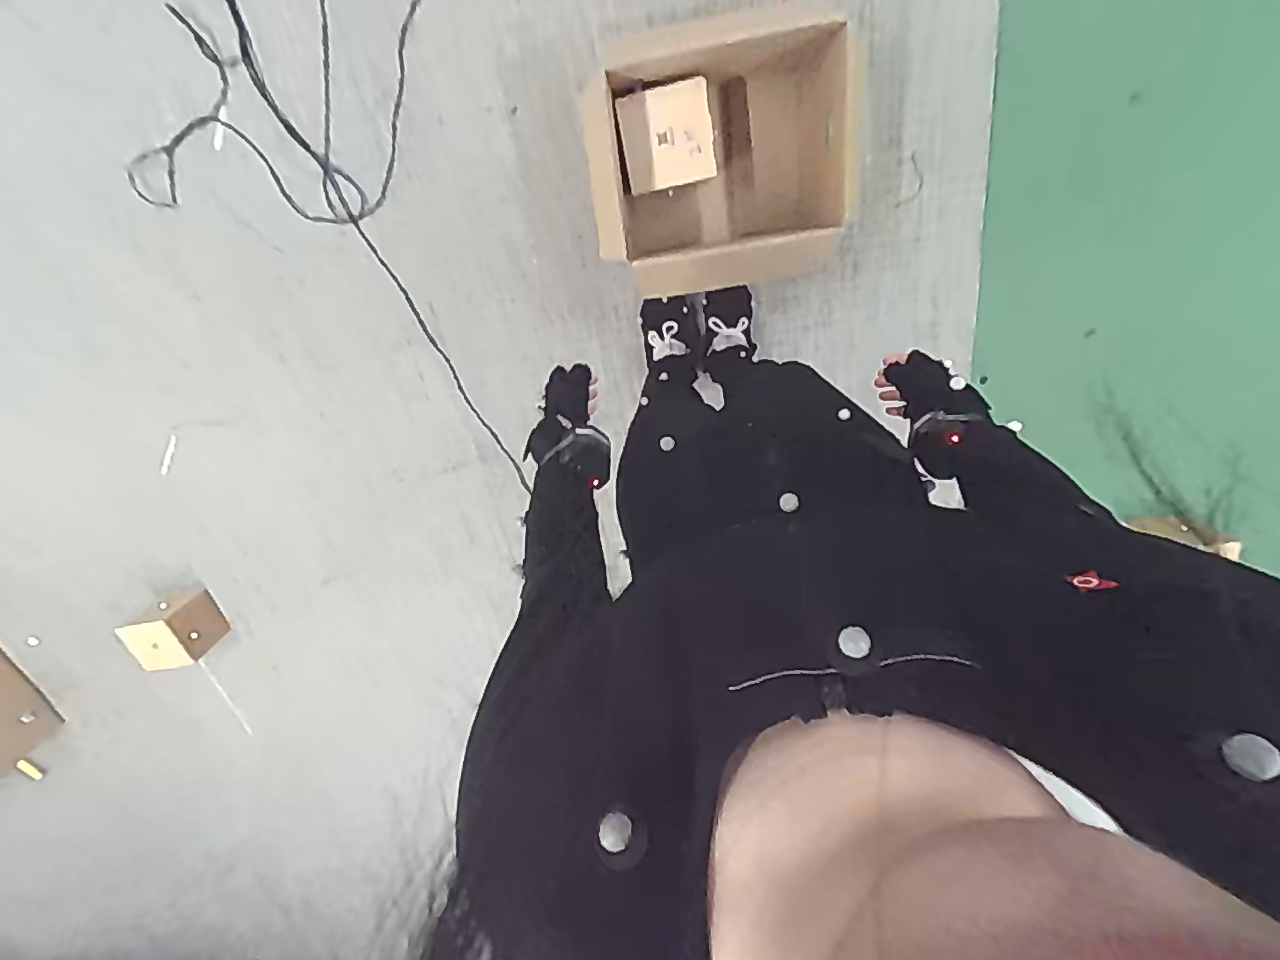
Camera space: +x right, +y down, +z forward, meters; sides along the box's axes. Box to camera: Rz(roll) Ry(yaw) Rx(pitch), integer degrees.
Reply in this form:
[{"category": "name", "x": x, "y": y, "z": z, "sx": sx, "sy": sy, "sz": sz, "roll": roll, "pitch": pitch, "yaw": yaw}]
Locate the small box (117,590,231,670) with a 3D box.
[{"category": "small box", "x": -1.448, "y": 0.461, "z": 1.692, "sx": 0.168, "sy": 0.176, "sz": 0.179, "roll": -10, "pitch": 116, "yaw": 5}]
